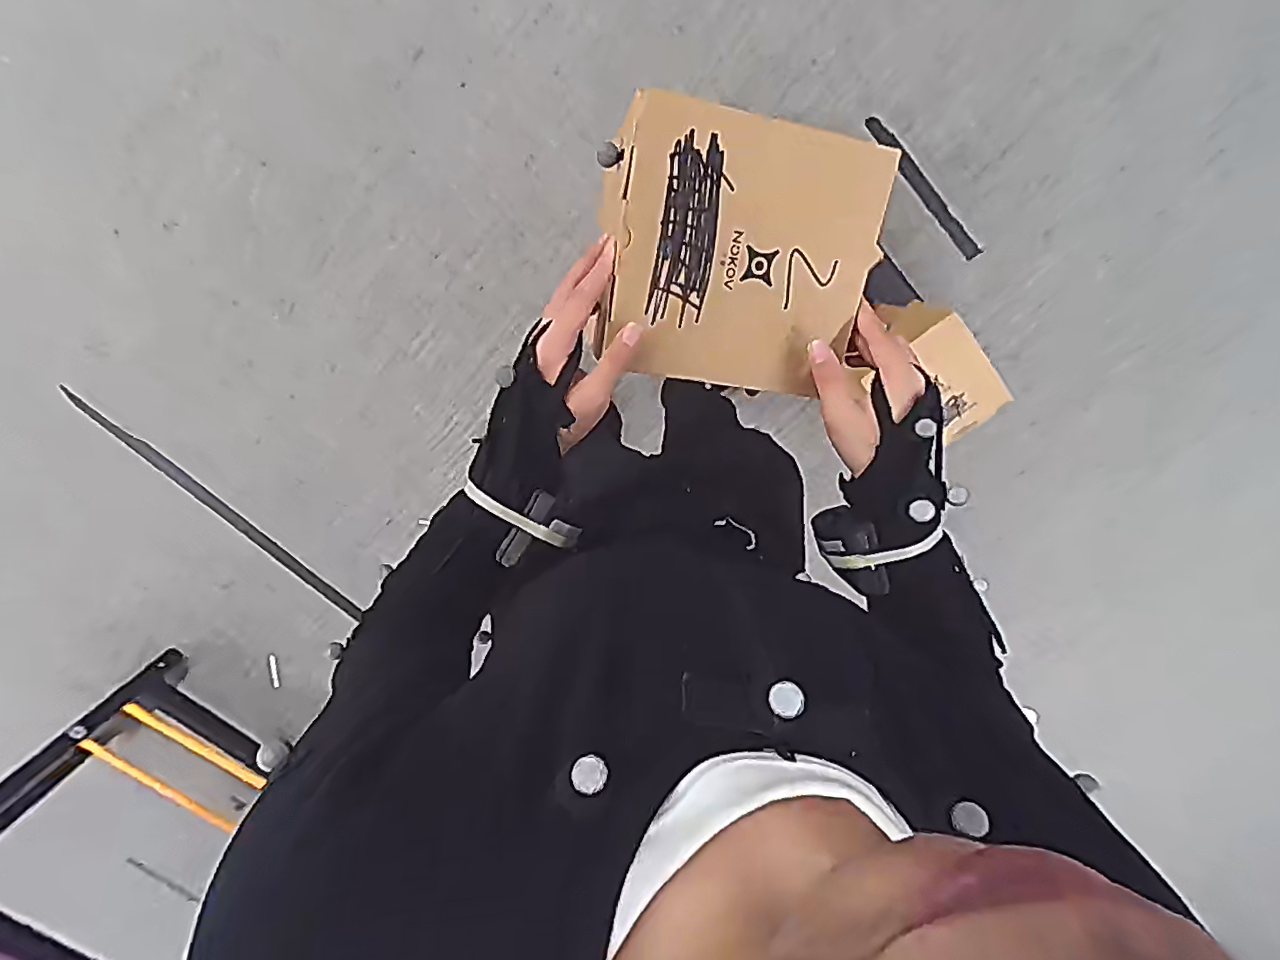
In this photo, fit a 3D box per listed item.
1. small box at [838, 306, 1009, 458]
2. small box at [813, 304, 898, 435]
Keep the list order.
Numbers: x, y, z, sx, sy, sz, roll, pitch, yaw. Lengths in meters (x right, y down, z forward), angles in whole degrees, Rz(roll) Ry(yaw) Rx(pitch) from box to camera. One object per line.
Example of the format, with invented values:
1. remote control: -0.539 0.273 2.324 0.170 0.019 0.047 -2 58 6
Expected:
1. small box: 0.469 -0.174 0.918 0.168 0.176 0.179 -37 104 18
2. small box: 0.474 -0.227 1.075 0.168 0.176 0.179 42 111 -13
